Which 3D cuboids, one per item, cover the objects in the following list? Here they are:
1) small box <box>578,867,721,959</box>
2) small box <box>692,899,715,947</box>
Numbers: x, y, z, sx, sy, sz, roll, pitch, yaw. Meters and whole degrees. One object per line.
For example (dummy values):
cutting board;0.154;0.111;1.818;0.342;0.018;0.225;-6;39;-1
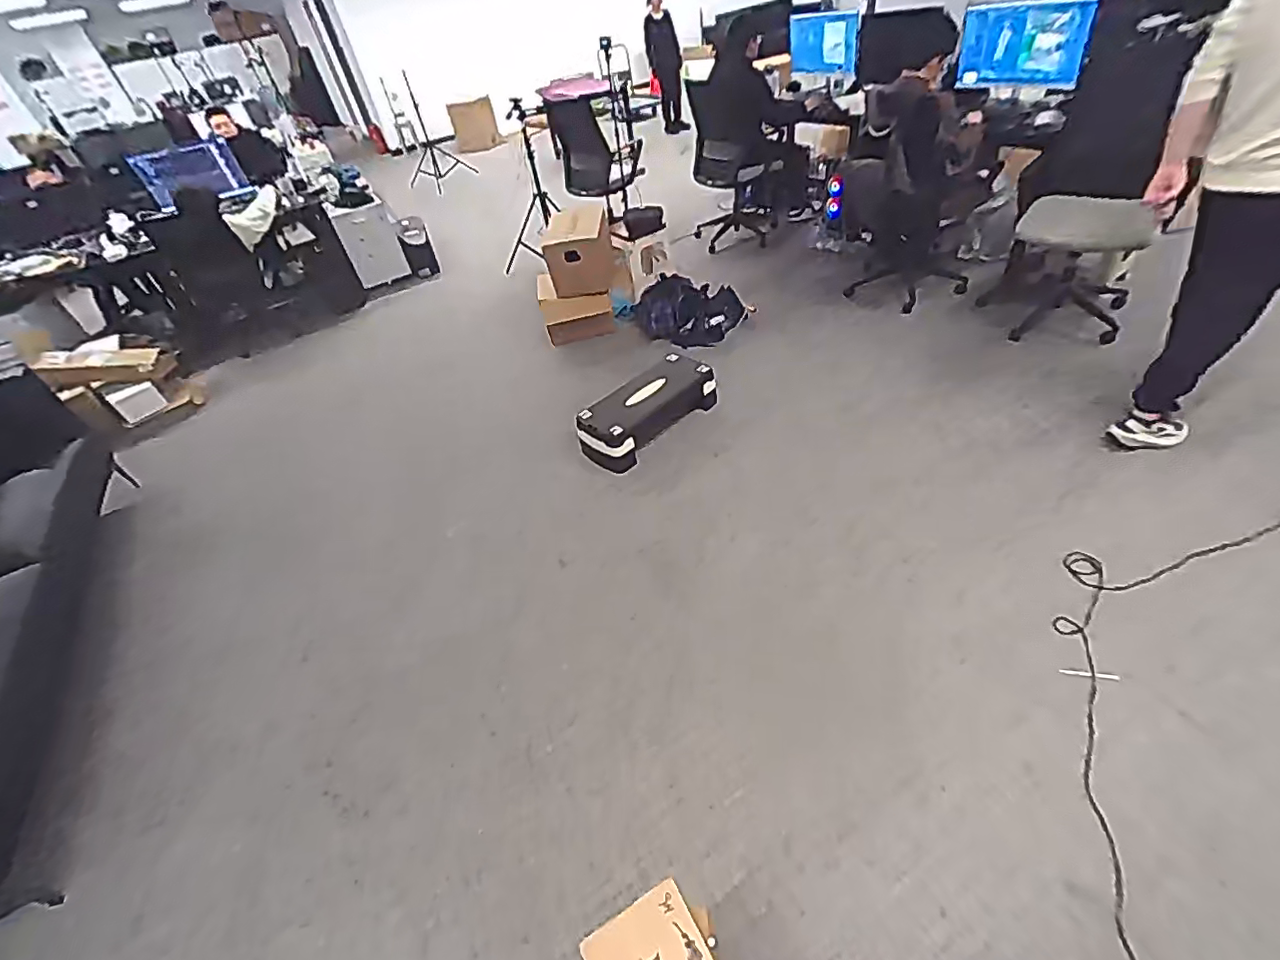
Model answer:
small box;0.027;0.773;0.867;0.179;0.176;0.168;-27;46;-13
small box;0.052;0.887;0.982;0.168;0.176;0.179;-8;45;6
